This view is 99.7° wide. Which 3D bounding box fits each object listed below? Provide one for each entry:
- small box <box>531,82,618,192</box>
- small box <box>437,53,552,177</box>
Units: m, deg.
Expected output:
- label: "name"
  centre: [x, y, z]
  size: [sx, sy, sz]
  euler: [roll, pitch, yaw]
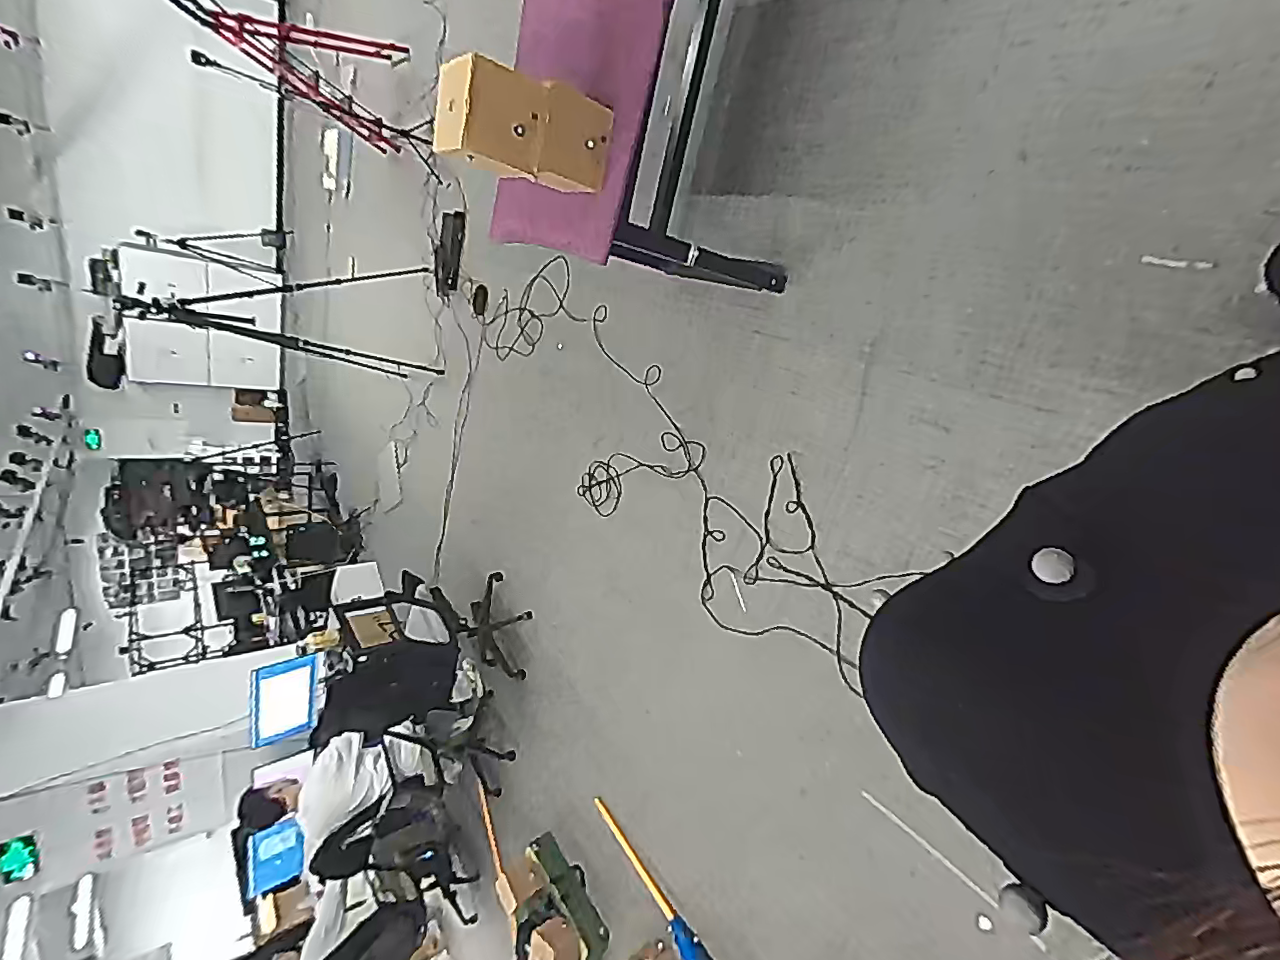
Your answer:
- label: "small box"
  centre: [-0.178, -0.775, 1.242]
  size: [0.179, 0.176, 0.168]
  euler: [32, 116, 45]
- label: "small box"
  centre: [-0.309, -0.759, 1.146]
  size: [0.179, 0.176, 0.168]
  euler: [32, 115, 45]
